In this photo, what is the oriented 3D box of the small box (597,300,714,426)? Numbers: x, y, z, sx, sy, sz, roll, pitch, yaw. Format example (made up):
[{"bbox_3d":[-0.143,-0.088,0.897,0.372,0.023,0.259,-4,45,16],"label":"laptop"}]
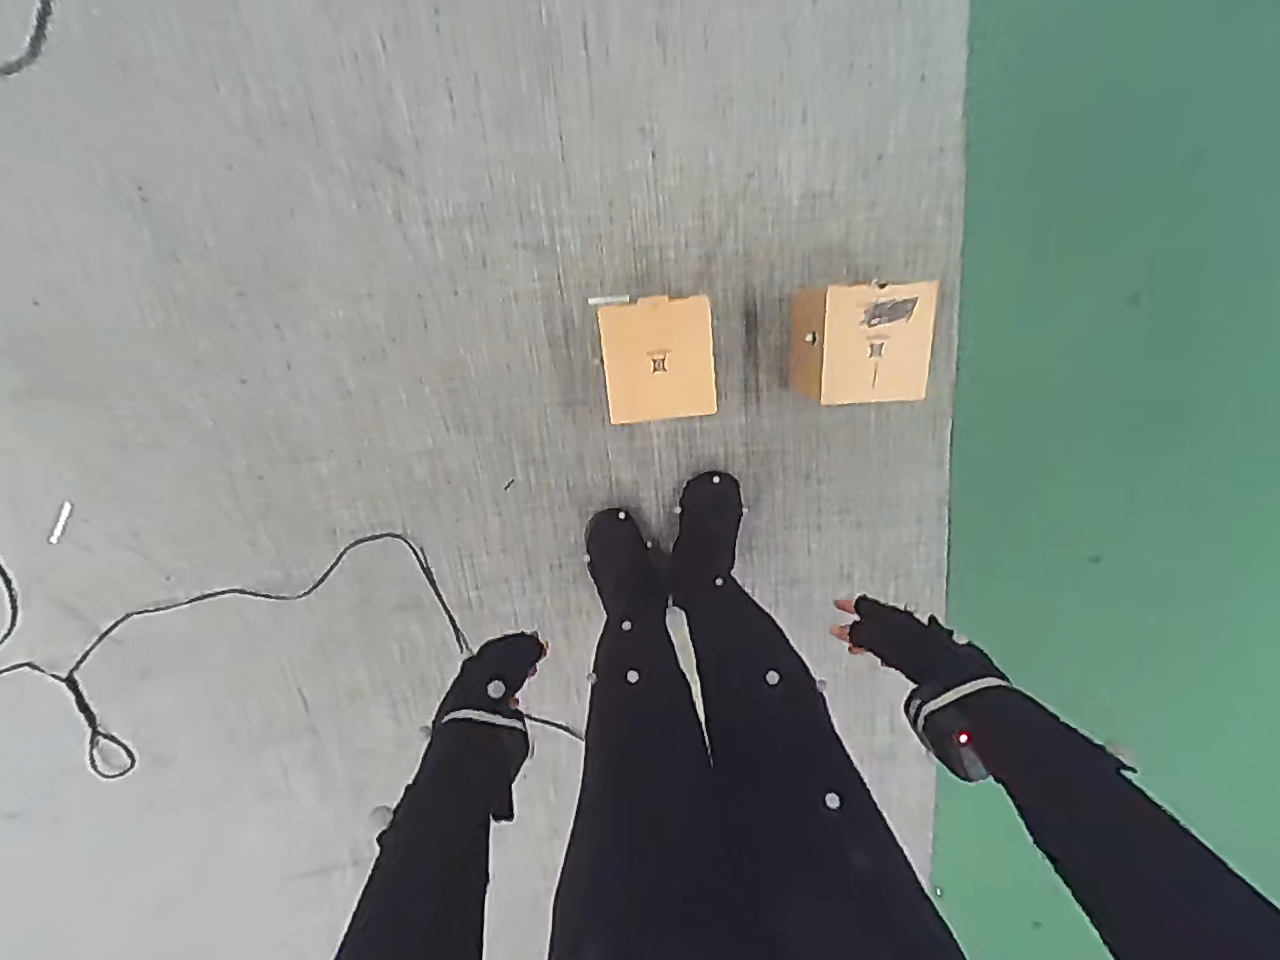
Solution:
[{"bbox_3d":[0.024,-0.195,0.892,0.168,0.176,0.179,-7,104,-1],"label":"small box"}]

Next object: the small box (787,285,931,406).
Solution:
[{"bbox_3d":[0.350,-0.221,0.896,0.168,0.176,0.179,-3,106,-1],"label":"small box"}]
